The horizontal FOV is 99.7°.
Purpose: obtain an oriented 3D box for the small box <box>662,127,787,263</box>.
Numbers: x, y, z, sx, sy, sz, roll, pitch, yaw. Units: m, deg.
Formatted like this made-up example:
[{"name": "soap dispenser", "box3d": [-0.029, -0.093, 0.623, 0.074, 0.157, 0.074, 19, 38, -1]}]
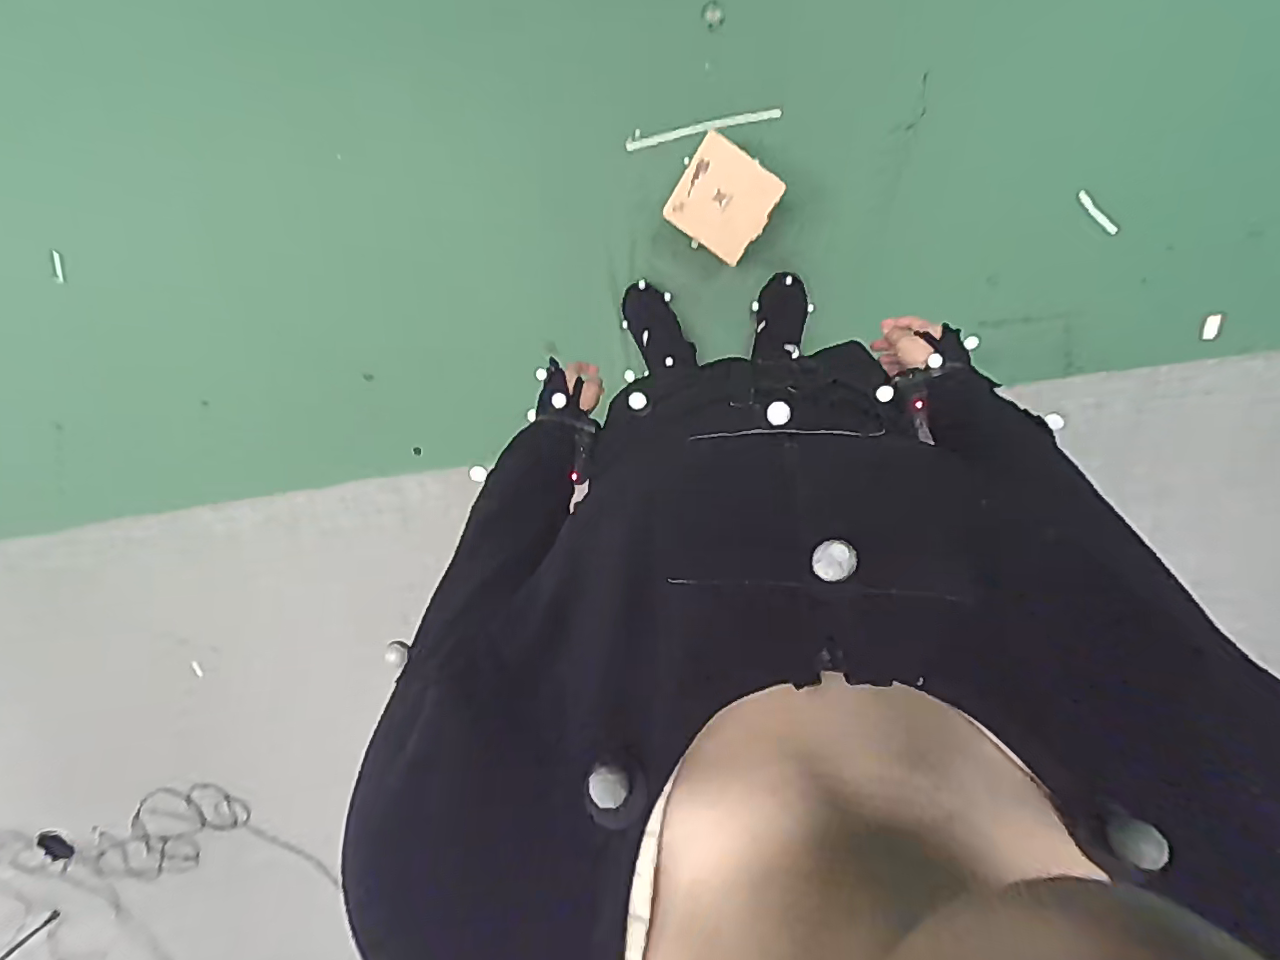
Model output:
[{"name": "small box", "box3d": [0.163, -0.561, 1.076, 0.179, 0.176, 0.168, 32, 114, -10]}]
